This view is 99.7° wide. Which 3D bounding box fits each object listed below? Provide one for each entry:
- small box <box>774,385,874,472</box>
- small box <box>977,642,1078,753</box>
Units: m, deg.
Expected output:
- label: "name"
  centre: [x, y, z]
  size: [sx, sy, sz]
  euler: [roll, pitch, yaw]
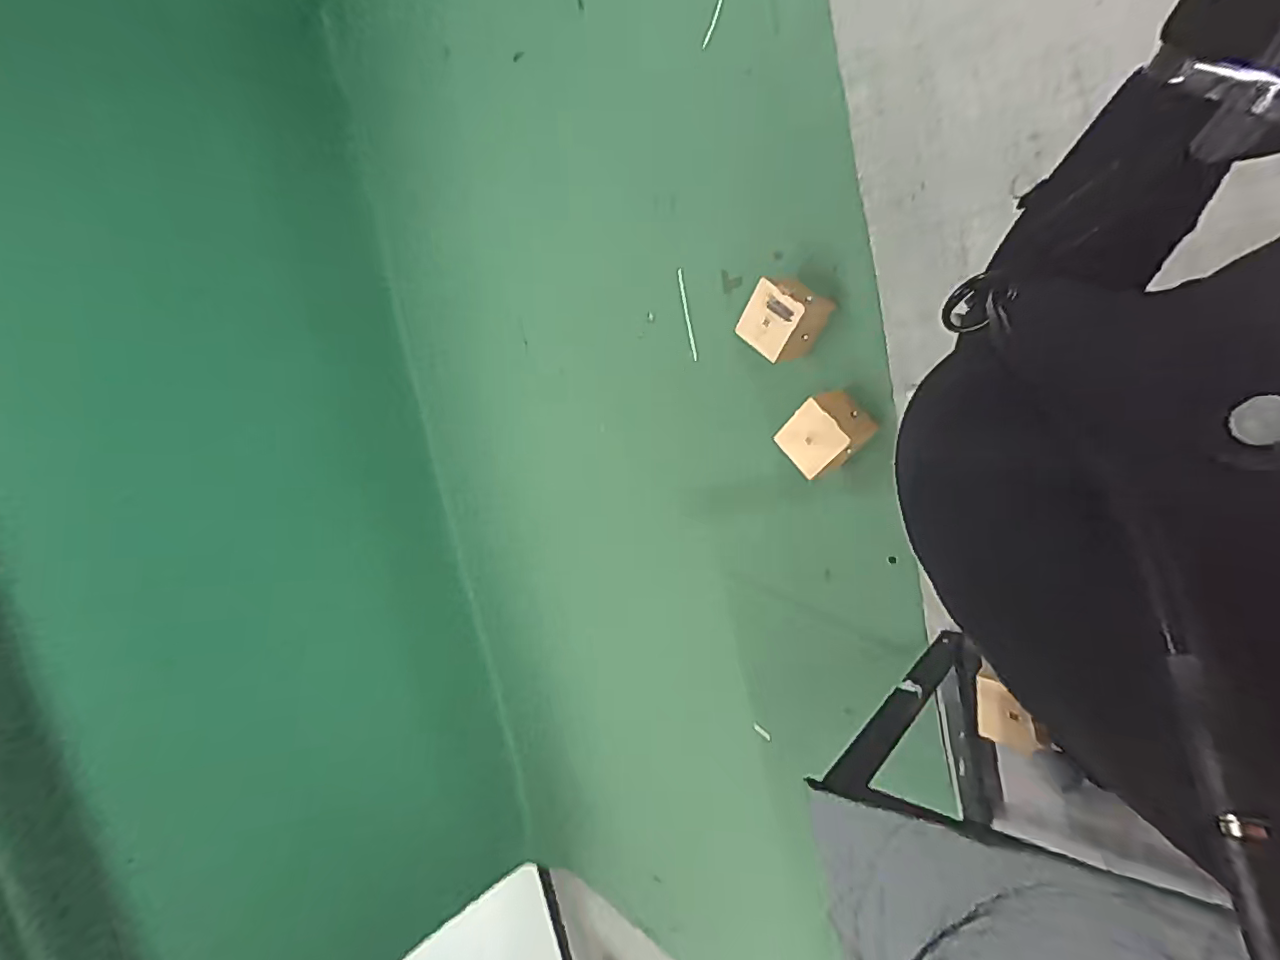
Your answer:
- label: "small box"
  centre: [0.526, -0.149, 1.540]
  size: [0.168, 0.176, 0.179]
  euler: [54, 135, 19]
- label: "small box"
  centre: [0.949, 0.520, 1.323]
  size: [0.179, 0.176, 0.168]
  euler: [4, 106, 47]
